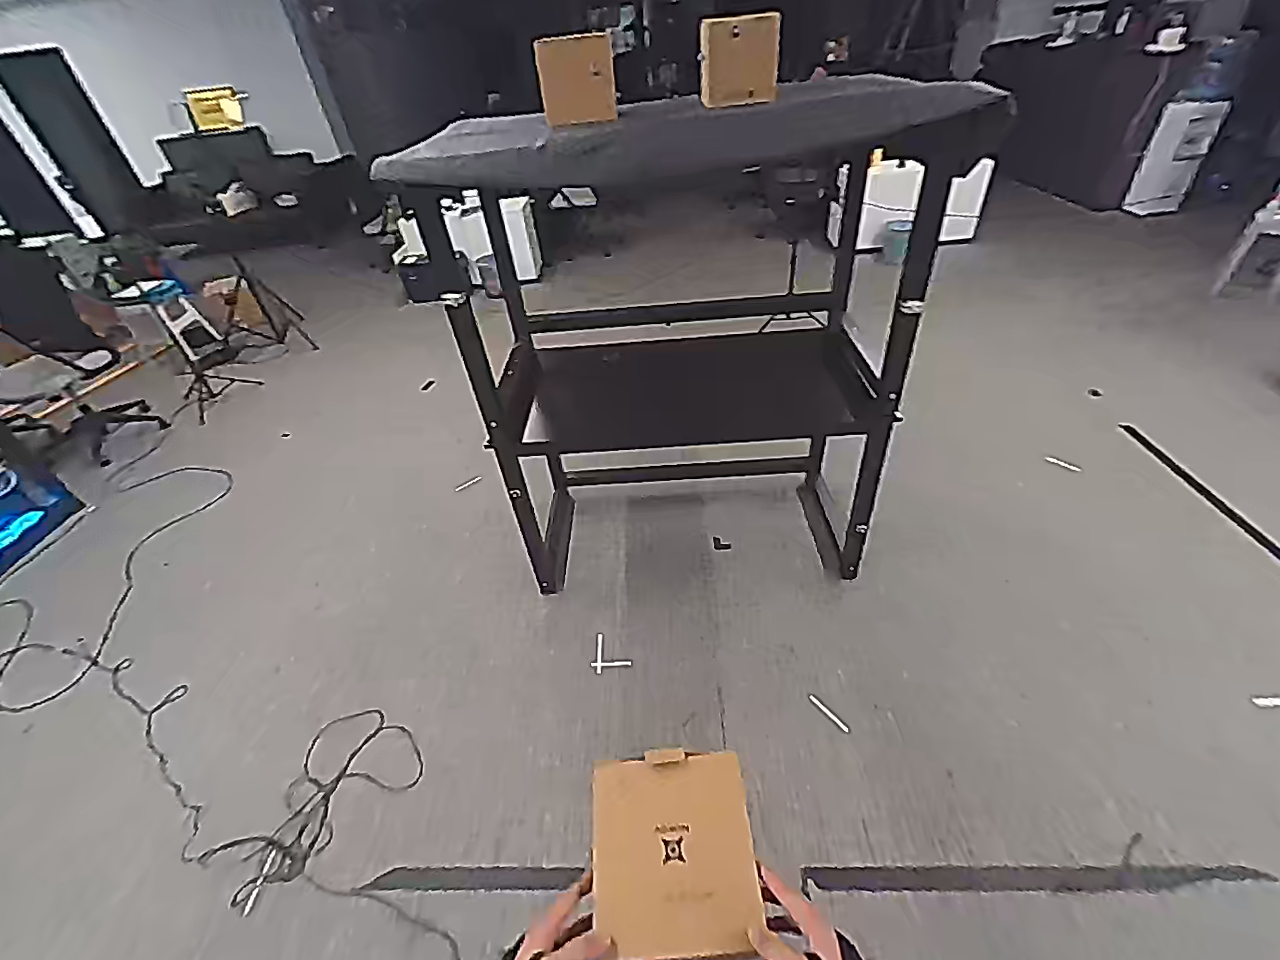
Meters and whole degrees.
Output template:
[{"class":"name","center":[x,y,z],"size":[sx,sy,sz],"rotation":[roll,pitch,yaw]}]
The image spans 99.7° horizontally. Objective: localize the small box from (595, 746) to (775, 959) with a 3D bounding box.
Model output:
[{"class":"small box","center":[0.039,0.420,0.600],"size":[0.168,0.176,0.179],"rotation":[-5,45,-1]}]

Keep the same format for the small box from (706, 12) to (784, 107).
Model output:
[{"class":"small box","center":[0.250,-1.030,1.330],"size":[0.168,0.176,0.179],"rotation":[-4,40,3]}]
